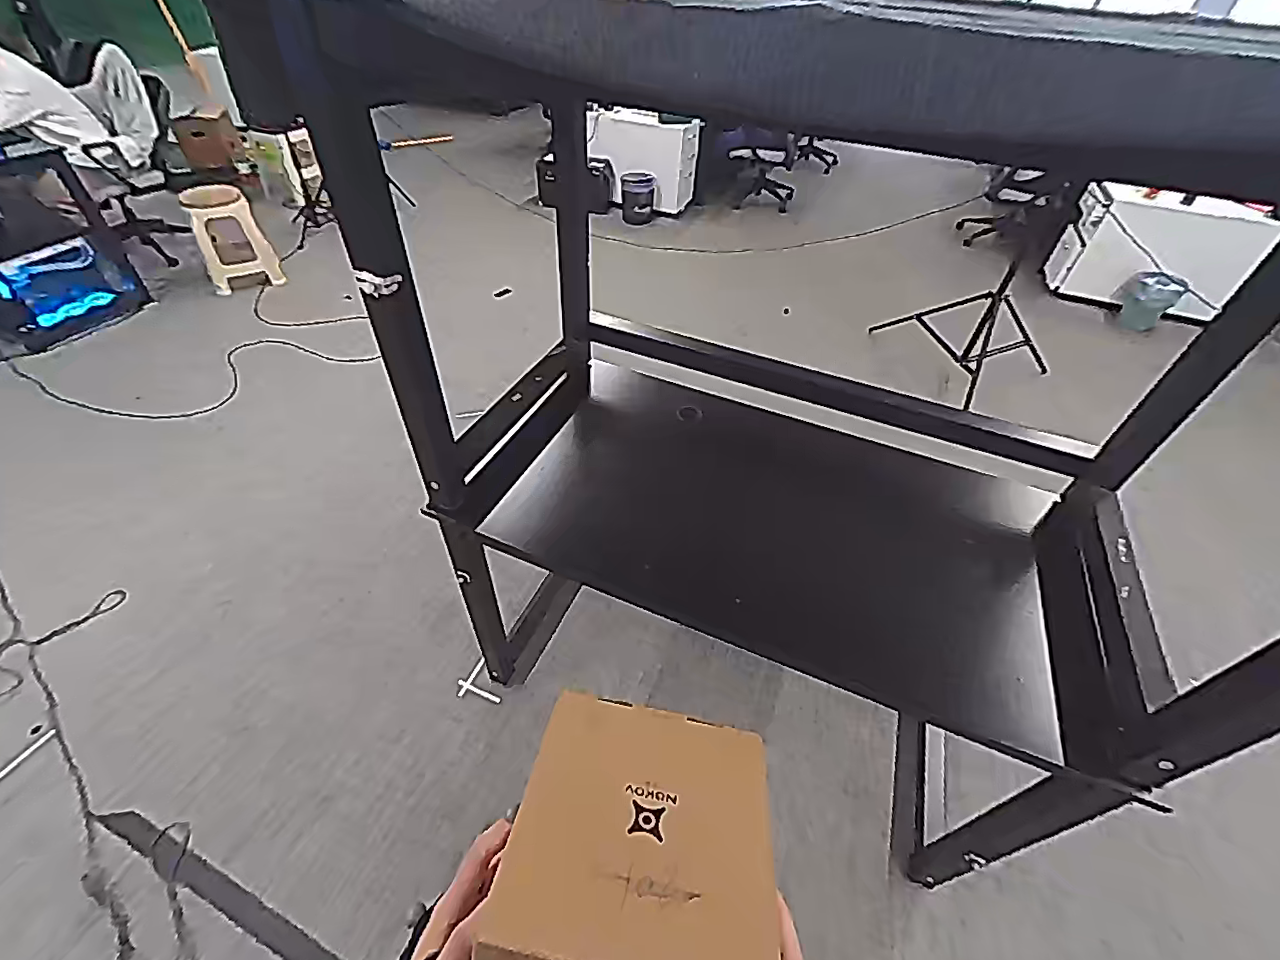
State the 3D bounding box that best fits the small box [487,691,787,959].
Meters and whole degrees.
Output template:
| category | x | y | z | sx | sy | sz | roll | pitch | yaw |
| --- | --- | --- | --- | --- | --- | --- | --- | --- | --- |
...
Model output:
| category | x | y | z | sx | sy | sz | roll | pitch | yaw |
| --- | --- | --- | --- | --- | --- | --- | --- | --- | --- |
| small box | -0.004 | 0.292 | 0.386 | 0.168 | 0.176 | 0.179 | 11 | 25 | 3 |
